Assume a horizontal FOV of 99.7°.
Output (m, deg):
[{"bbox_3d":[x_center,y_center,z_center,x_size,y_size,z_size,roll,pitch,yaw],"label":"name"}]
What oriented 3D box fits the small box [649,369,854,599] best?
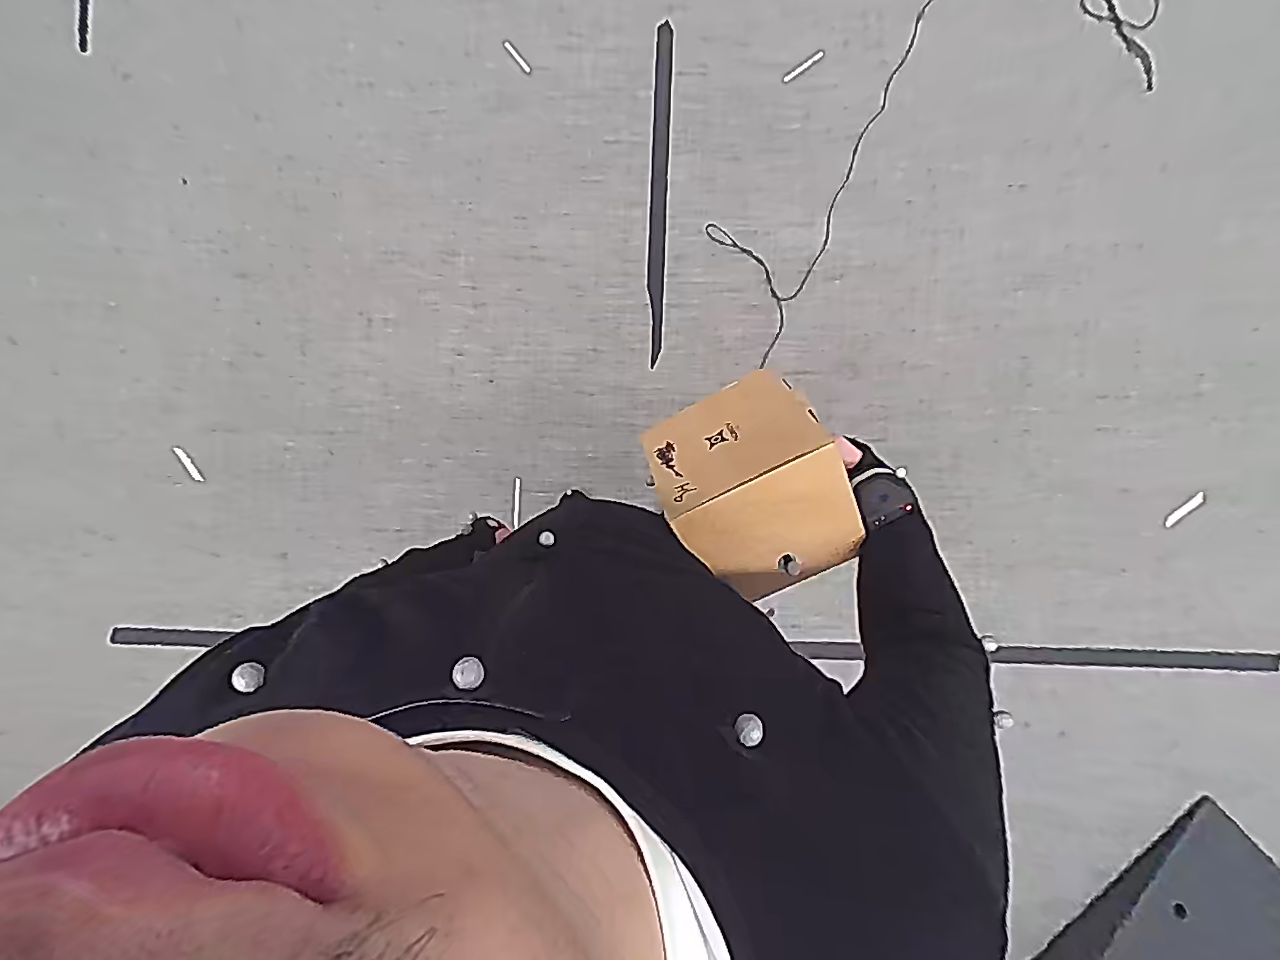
[{"bbox_3d":[0.132,0.006,0.635,0.179,0.168,0.176,-25,126,9],"label":"small box"}]
